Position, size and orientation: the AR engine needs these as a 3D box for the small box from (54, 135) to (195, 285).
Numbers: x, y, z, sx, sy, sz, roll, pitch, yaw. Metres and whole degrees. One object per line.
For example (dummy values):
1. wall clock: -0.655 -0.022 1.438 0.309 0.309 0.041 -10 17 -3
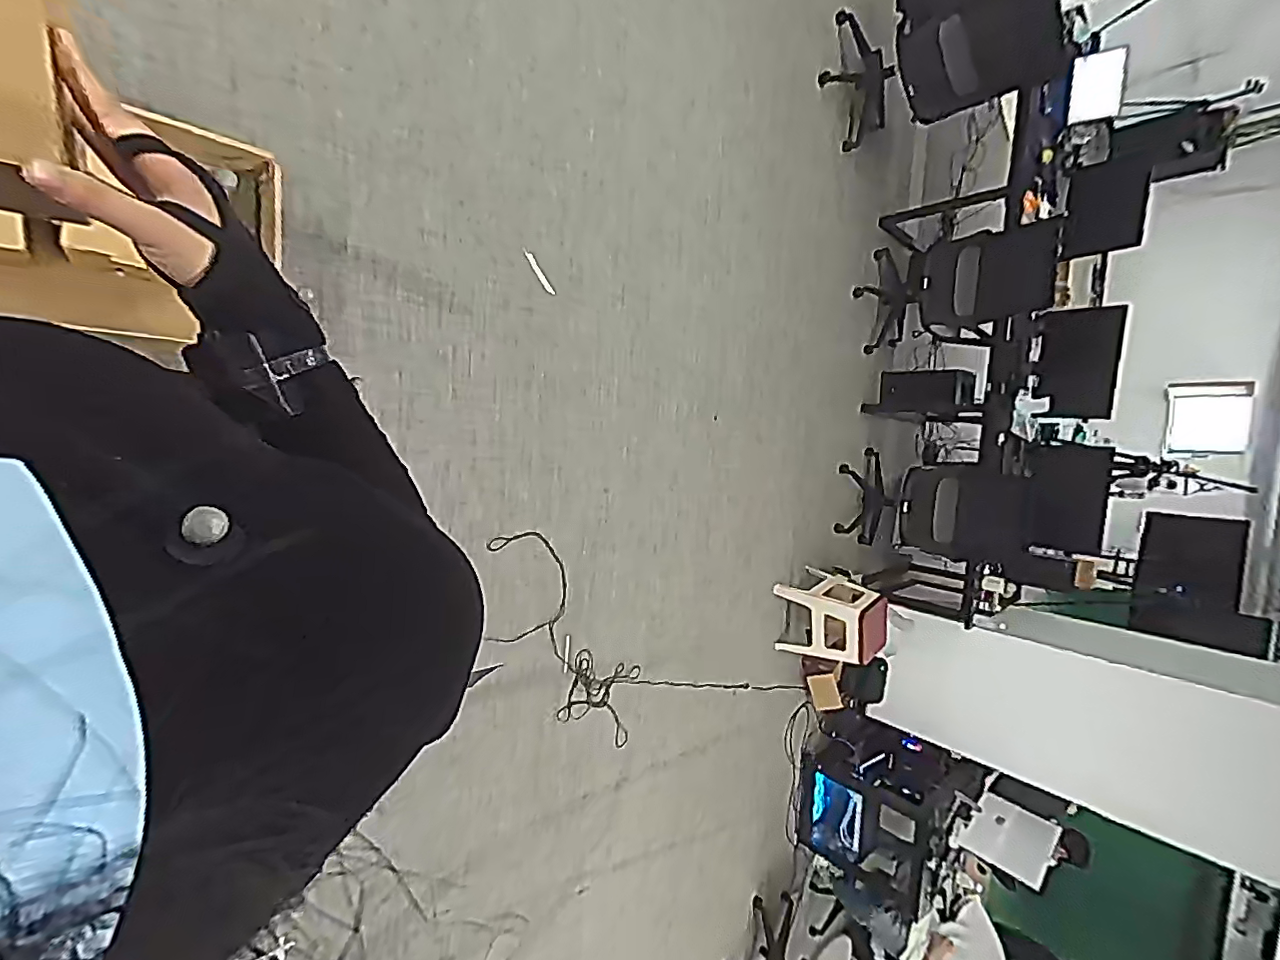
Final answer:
1. small box: -0.942 -0.479 0.992 0.168 0.176 0.179 6 92 -44

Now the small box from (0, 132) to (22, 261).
1. small box: -1.095 -0.456 0.839 0.168 0.176 0.179 -4 99 -46
